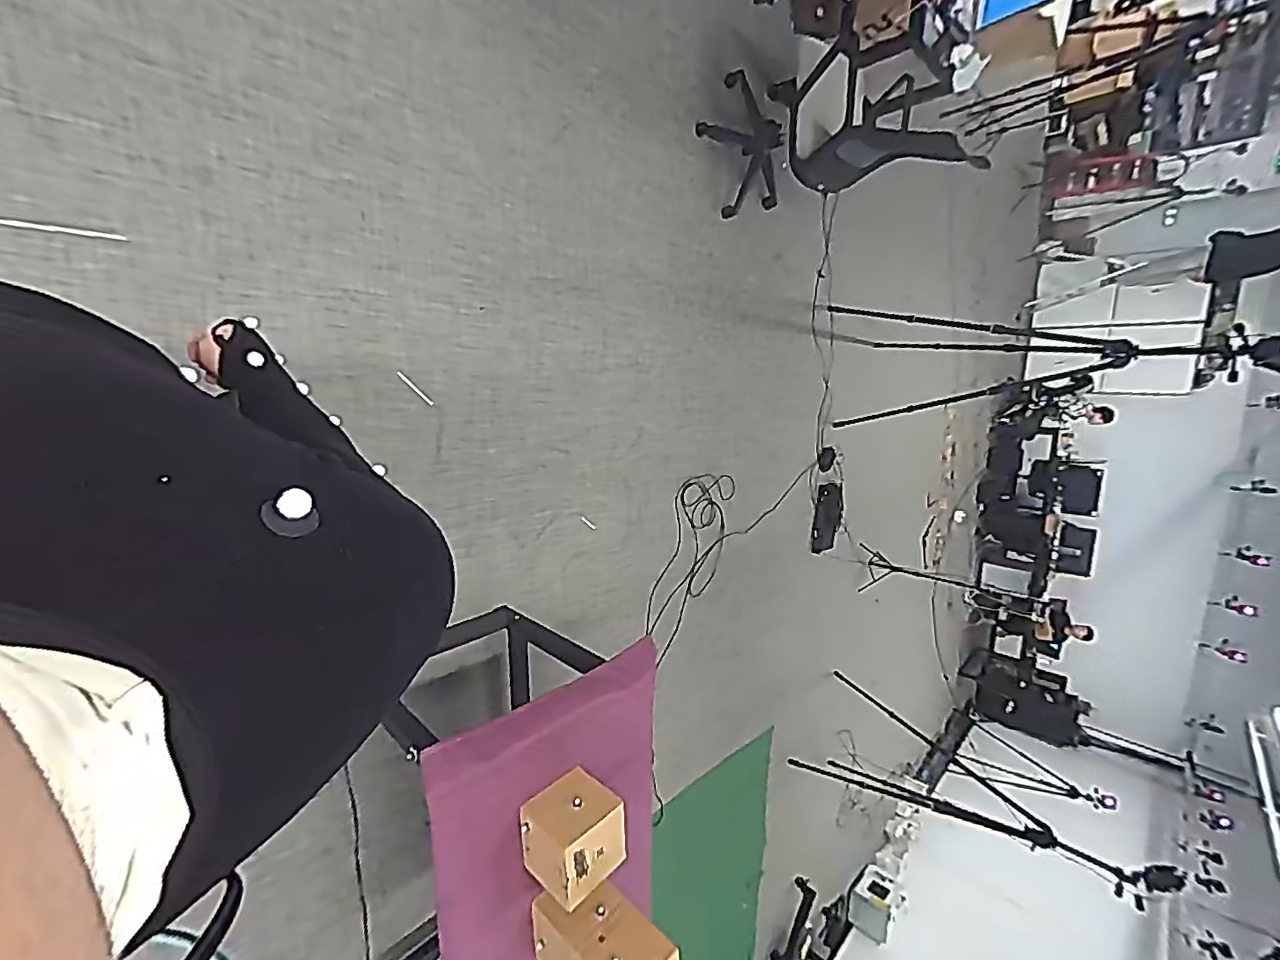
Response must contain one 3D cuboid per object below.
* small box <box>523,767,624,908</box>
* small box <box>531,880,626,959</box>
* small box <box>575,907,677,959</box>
[{"bbox_3d":[-0.158,0.815,1.253,0.179,0.176,0.168,-15,108,-45],"label":"small box"},{"bbox_3d":[-0.150,1.090,1.317,0.168,0.176,0.179,-14,108,-44],"label":"small box"},{"bbox_3d":[-0.033,1.109,1.204,0.168,0.176,0.179,-14,108,-43],"label":"small box"}]
